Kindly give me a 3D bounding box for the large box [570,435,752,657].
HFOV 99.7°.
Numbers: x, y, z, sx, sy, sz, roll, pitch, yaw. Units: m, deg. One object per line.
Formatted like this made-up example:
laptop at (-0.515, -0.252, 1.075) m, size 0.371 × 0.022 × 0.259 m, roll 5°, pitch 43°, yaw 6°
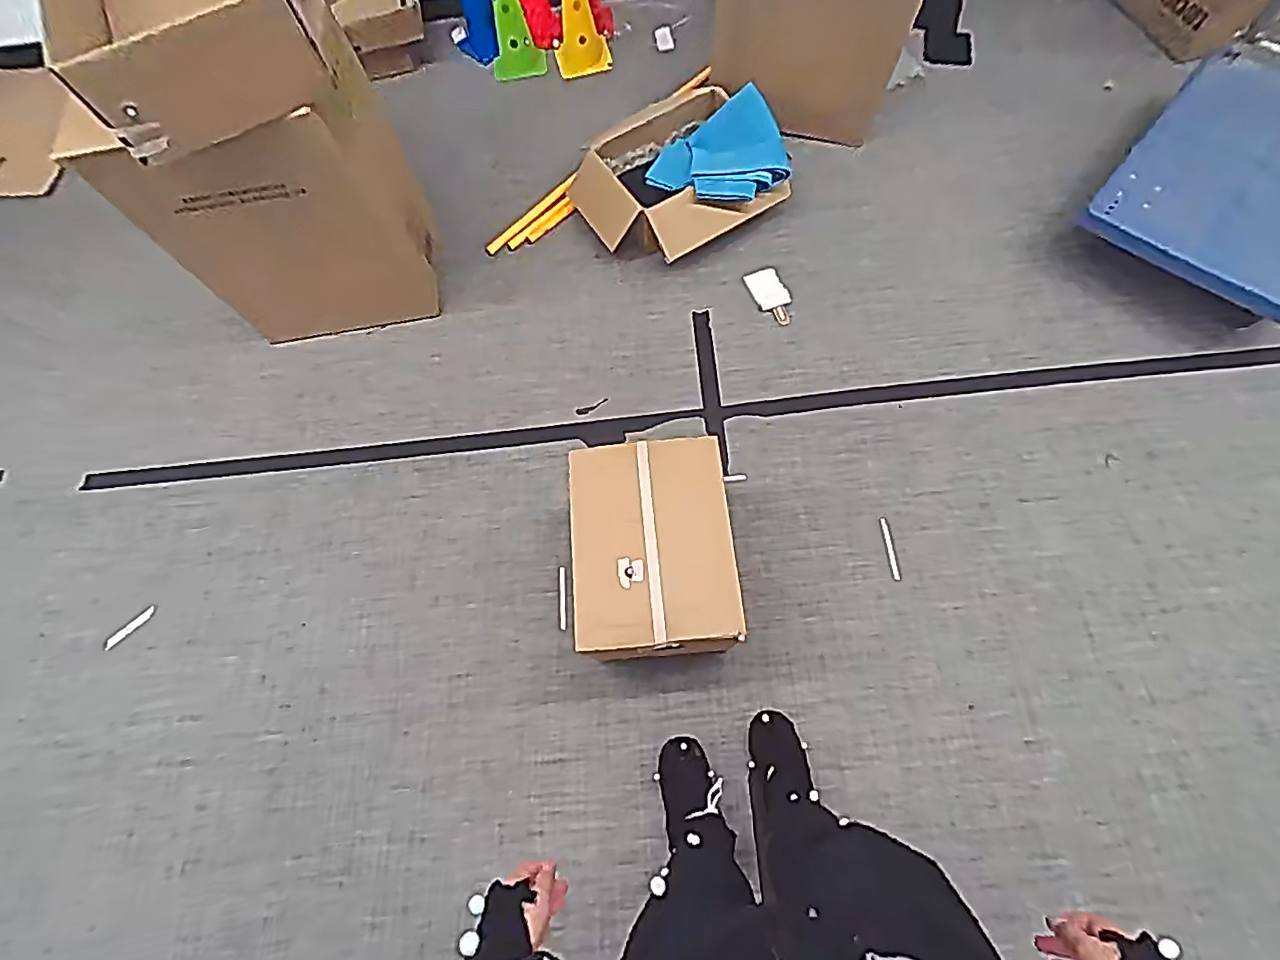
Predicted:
large box at (0.036, 0.158, 1.180) m, size 0.320 × 0.320 × 0.408 m, roll -7°, pitch 69°, yaw 2°
